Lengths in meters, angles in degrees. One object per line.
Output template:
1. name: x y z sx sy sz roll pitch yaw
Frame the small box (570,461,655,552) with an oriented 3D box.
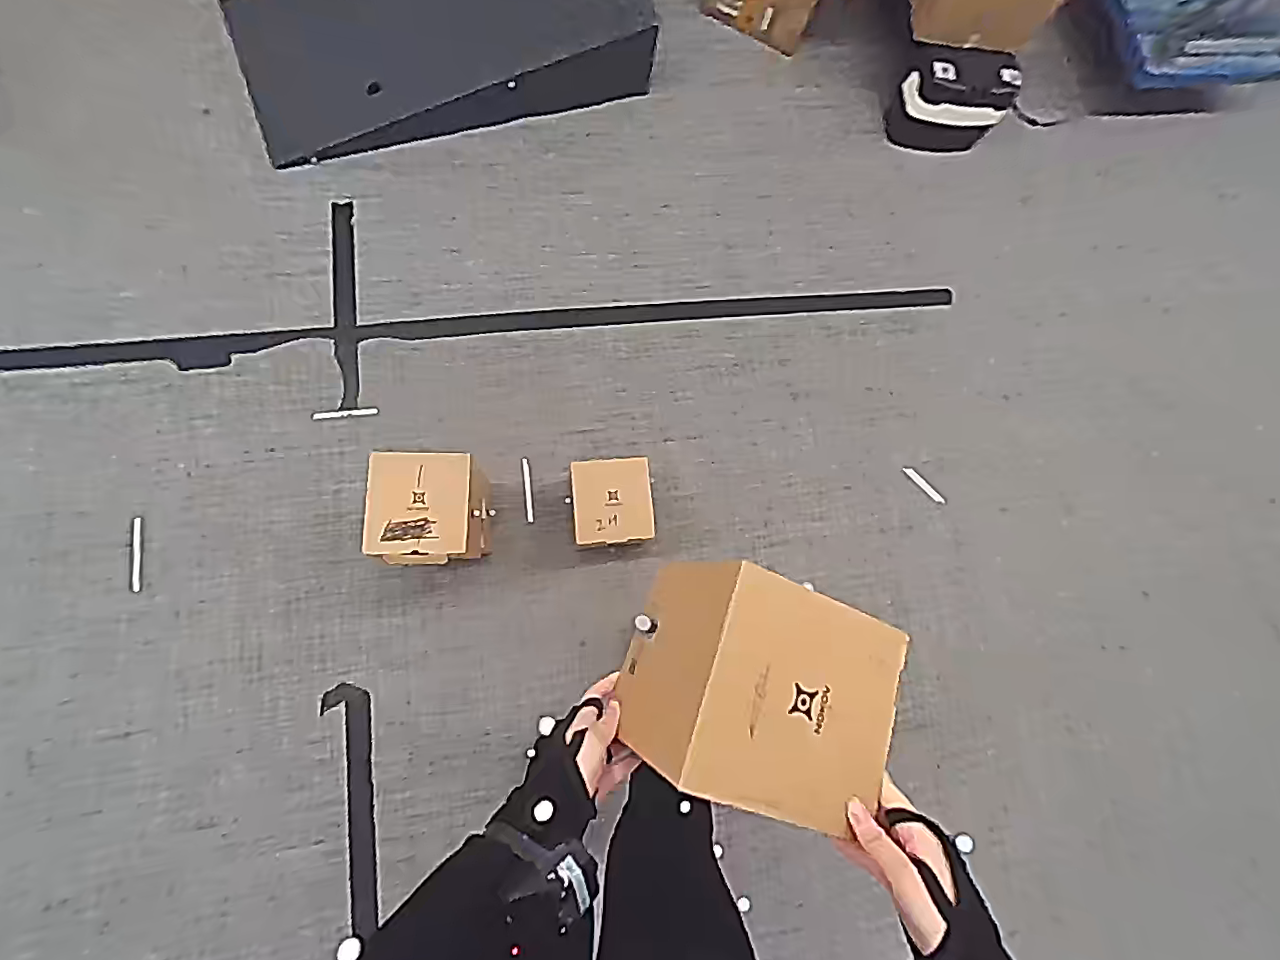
1. small box: -0.067 0.063 1.191 0.168 0.176 0.179 -4 80 -9

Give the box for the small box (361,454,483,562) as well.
1. small box: -0.381 0.059 0.974 0.168 0.176 0.179 1 79 -9

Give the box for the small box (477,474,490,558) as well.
1. small box: -0.410 0.083 1.134 0.179 0.176 0.168 -3 80 -10

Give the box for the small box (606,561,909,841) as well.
1. small box: 0.095 0.179 0.479 0.179 0.176 0.168 25 72 -16
